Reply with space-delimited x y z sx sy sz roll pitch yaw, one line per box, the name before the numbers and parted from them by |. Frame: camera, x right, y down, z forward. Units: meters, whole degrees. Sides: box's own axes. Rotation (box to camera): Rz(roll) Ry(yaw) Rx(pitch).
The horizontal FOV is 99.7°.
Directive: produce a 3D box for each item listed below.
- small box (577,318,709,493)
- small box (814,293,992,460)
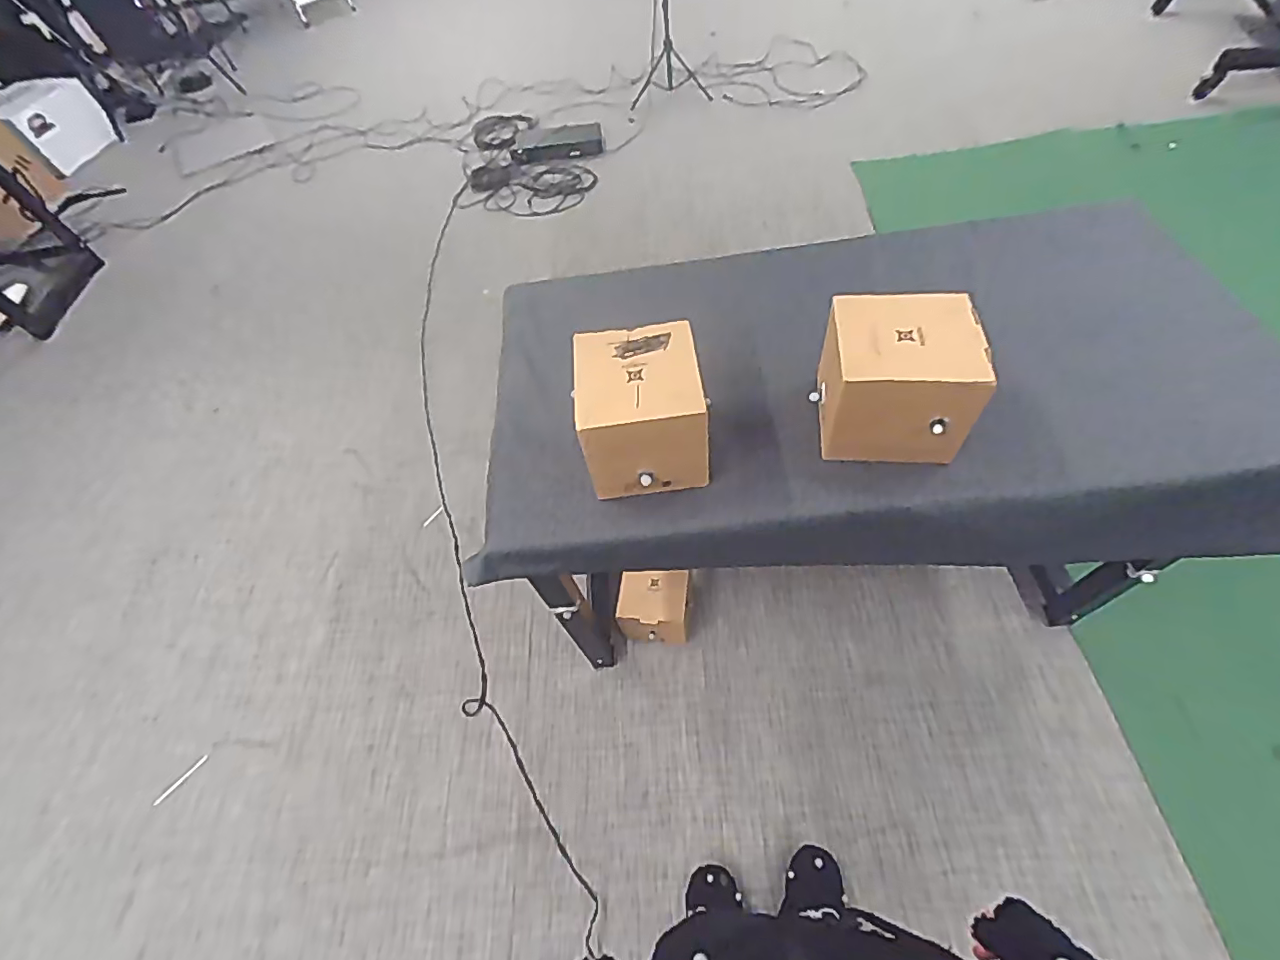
small box | 0.005 -0.103 0.778 0.168 0.176 0.179 -7 56 2
small box | 0.352 -0.141 0.763 0.179 0.176 0.168 1 56 9
